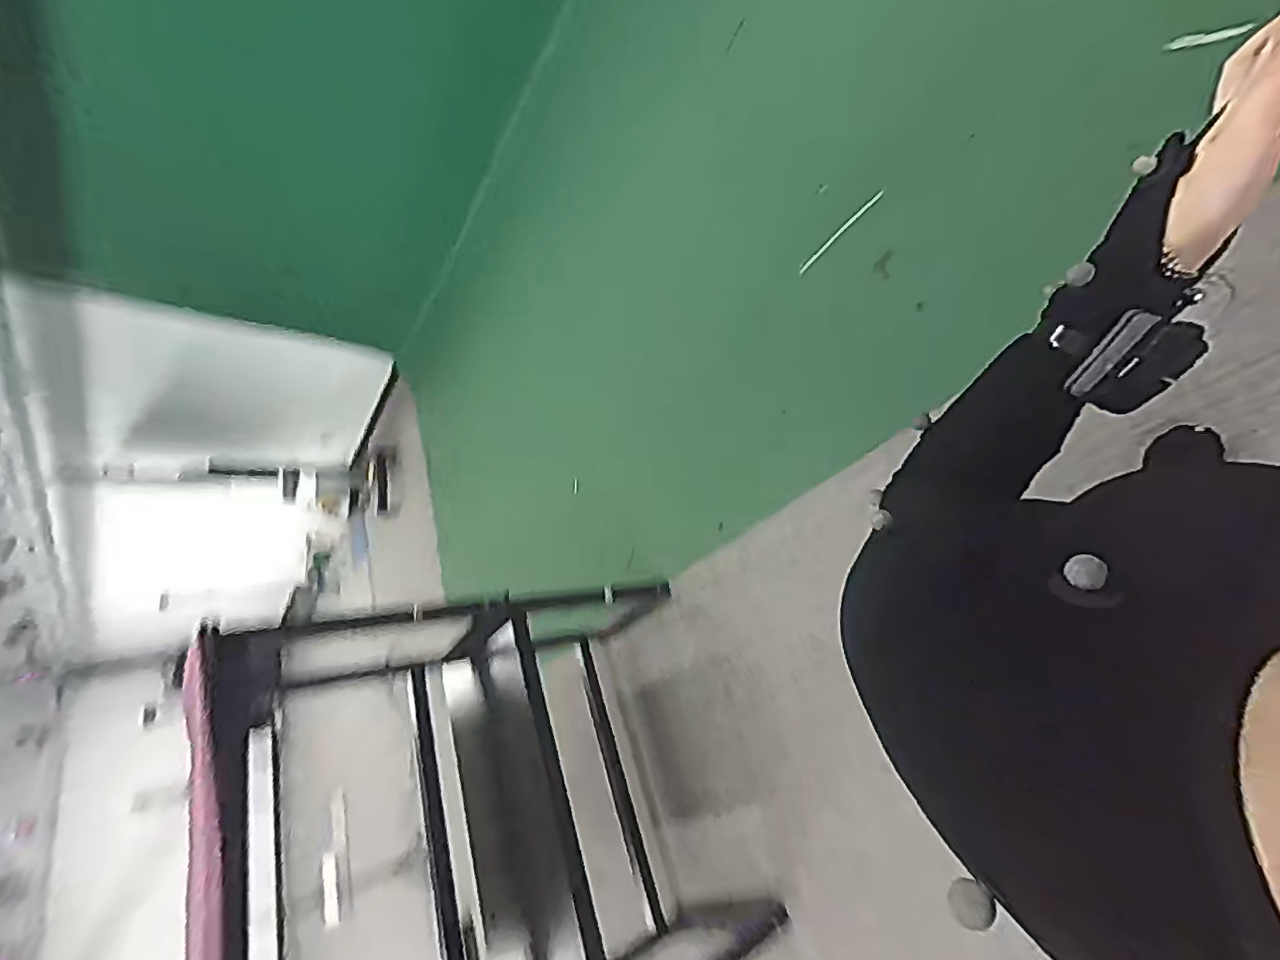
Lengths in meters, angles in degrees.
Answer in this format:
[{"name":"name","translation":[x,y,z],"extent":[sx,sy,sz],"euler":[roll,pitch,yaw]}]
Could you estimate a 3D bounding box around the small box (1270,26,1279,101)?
[{"name":"small box","translation":[0.404,-0.285,0.219],"extent":[0.168,0.176,0.179],"euler":[15,101,43]}]
